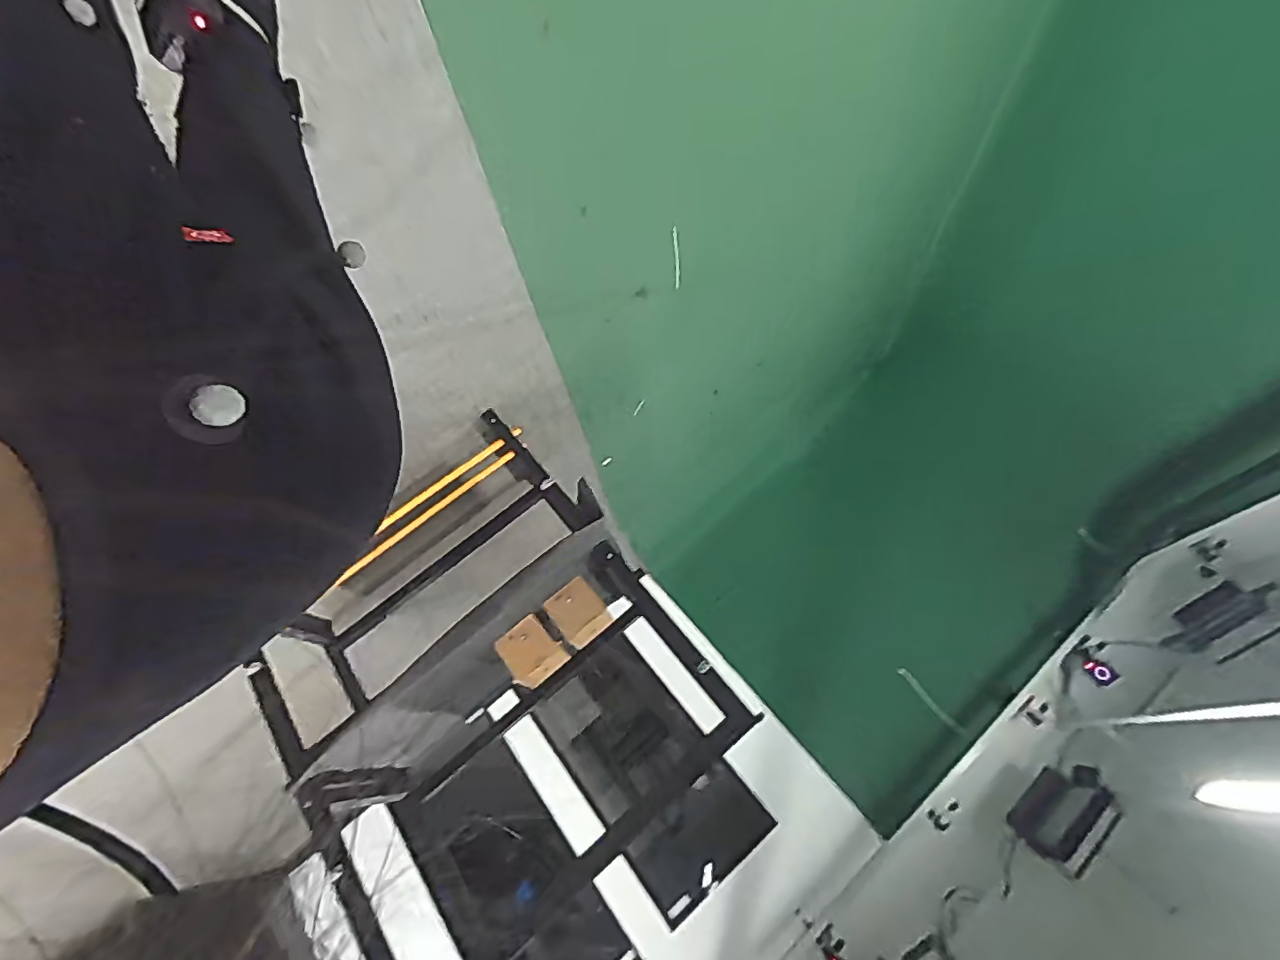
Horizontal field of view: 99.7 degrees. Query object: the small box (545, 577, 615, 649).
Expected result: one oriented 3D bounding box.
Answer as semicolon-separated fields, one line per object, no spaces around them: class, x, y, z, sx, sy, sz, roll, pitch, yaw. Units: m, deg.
small box;-0.211;0.470;1.918;0.168;0.176;0.179;-38;155;-12
